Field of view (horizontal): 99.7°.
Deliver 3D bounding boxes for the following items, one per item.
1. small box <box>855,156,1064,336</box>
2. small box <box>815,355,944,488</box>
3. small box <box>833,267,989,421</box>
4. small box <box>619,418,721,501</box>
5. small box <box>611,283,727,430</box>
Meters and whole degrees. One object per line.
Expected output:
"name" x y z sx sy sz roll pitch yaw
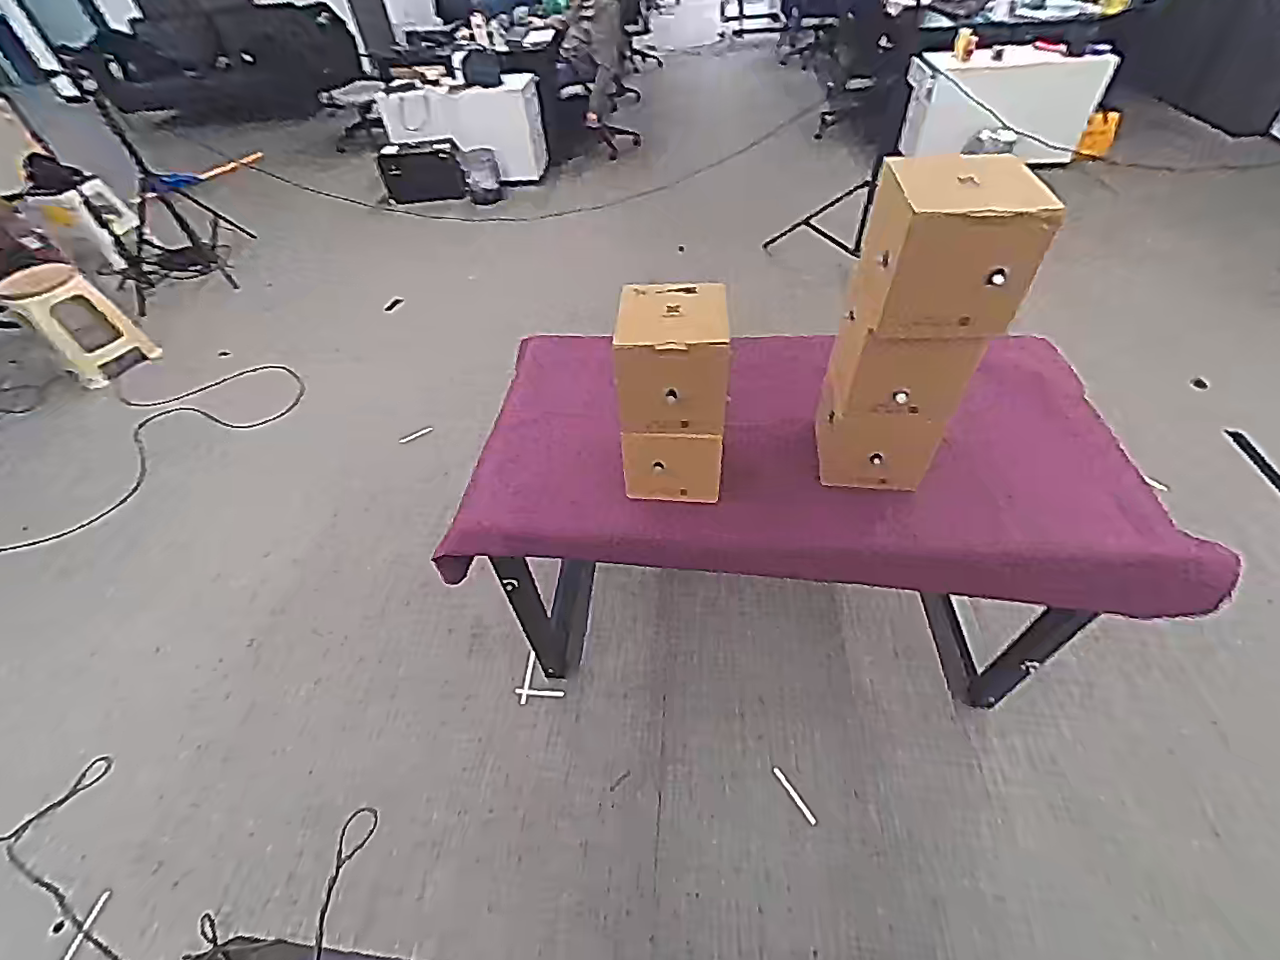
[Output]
"small box" 0.401 -0.307 0.718 0.168 0.176 0.179 2 48 5
"small box" 0.417 -0.103 0.974 0.168 0.176 0.179 4 48 8
"small box" 0.410 -0.215 0.853 0.168 0.176 0.179 4 49 8
"small box" 0.062 -0.078 0.980 0.168 0.176 0.179 3 47 7
"small box" 0.052 -0.194 0.864 0.168 0.176 0.179 1 48 5
